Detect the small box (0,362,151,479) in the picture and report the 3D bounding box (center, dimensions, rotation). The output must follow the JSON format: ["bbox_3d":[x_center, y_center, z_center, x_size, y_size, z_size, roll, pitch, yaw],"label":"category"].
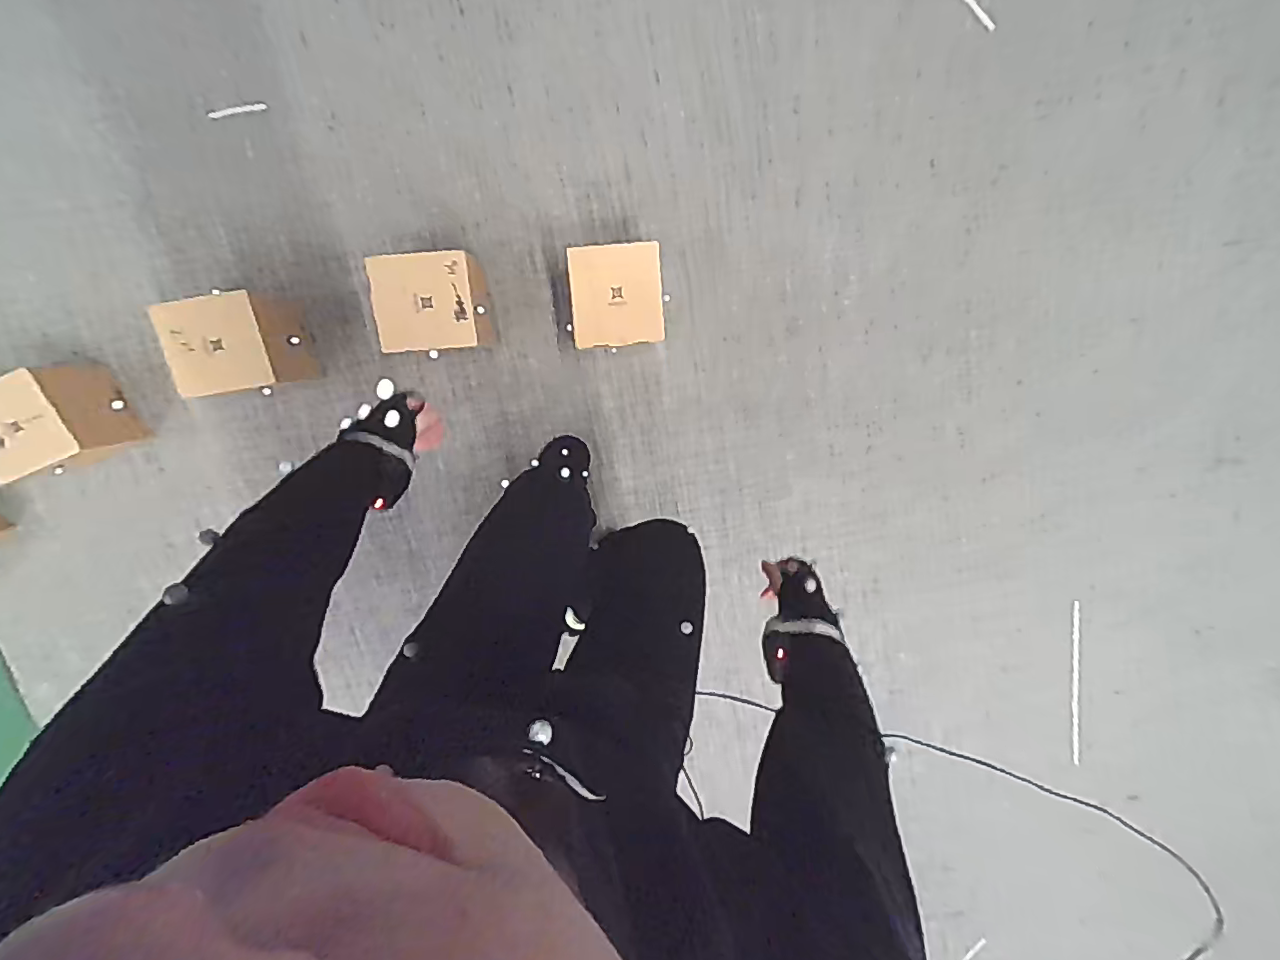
[{"bbox_3d":[-1.127,-0.119,1.047,0.179,0.176,0.168,-22,103,1],"label":"small box"}]

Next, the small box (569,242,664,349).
[{"bbox_3d":[-0.046,-0.351,1.054,0.168,0.176,0.179,-5,104,-2],"label":"small box"}]

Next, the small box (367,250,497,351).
[{"bbox_3d":[-0.388,-0.335,1.037,0.179,0.176,0.168,-4,104,-2],"label":"small box"}]

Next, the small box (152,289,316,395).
[{"bbox_3d":[-0.755,-0.261,1.034,0.179,0.176,0.168,-9,103,-1],"label":"small box"}]
